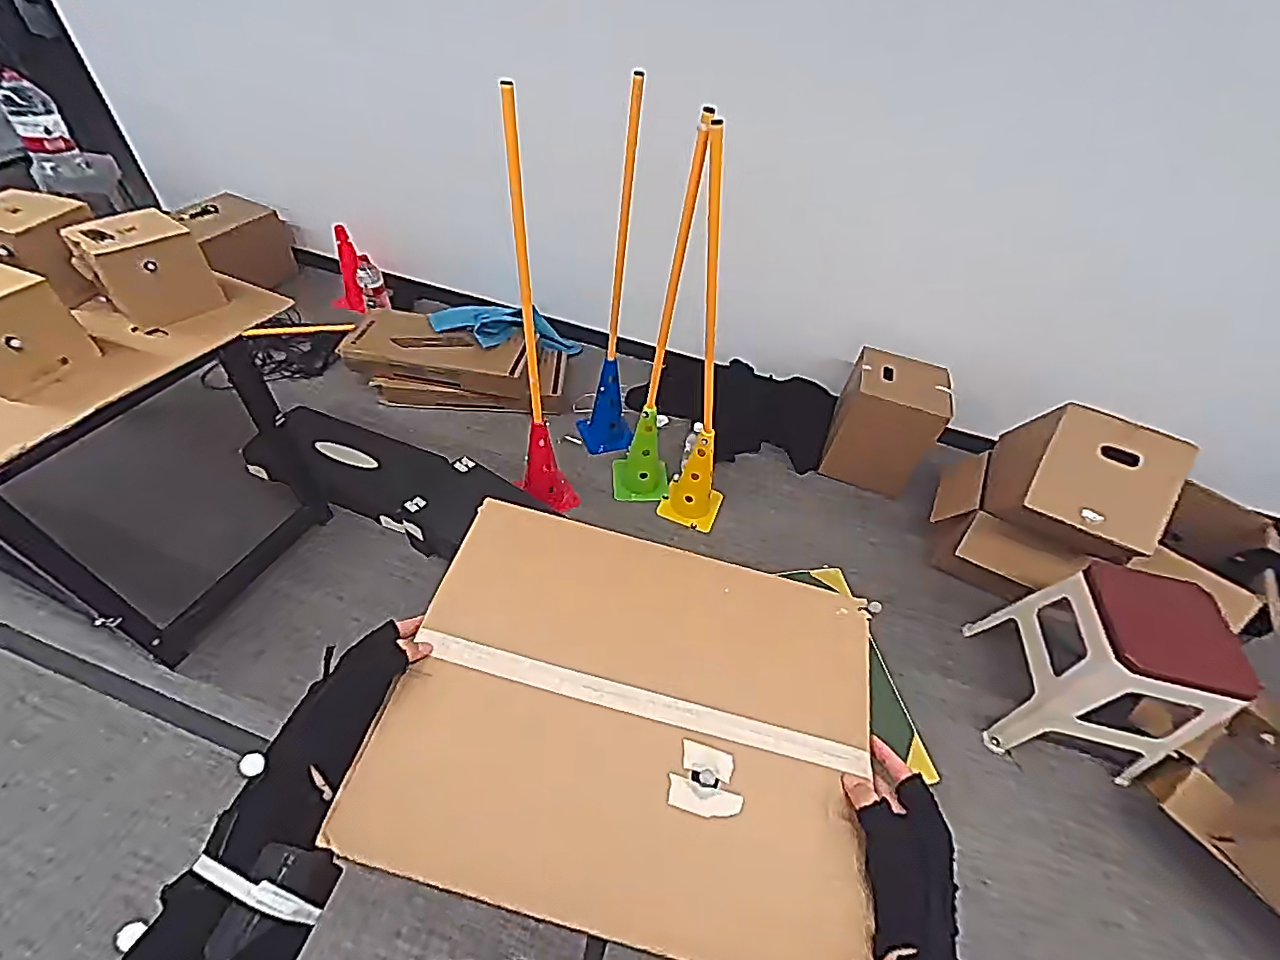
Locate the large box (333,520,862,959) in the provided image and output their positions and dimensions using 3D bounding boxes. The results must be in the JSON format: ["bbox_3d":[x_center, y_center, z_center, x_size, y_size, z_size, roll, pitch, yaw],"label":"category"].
[{"bbox_3d":[-0.023,0.292,0.594,0.408,0.320,0.320,15,54,2],"label":"large box"}]
